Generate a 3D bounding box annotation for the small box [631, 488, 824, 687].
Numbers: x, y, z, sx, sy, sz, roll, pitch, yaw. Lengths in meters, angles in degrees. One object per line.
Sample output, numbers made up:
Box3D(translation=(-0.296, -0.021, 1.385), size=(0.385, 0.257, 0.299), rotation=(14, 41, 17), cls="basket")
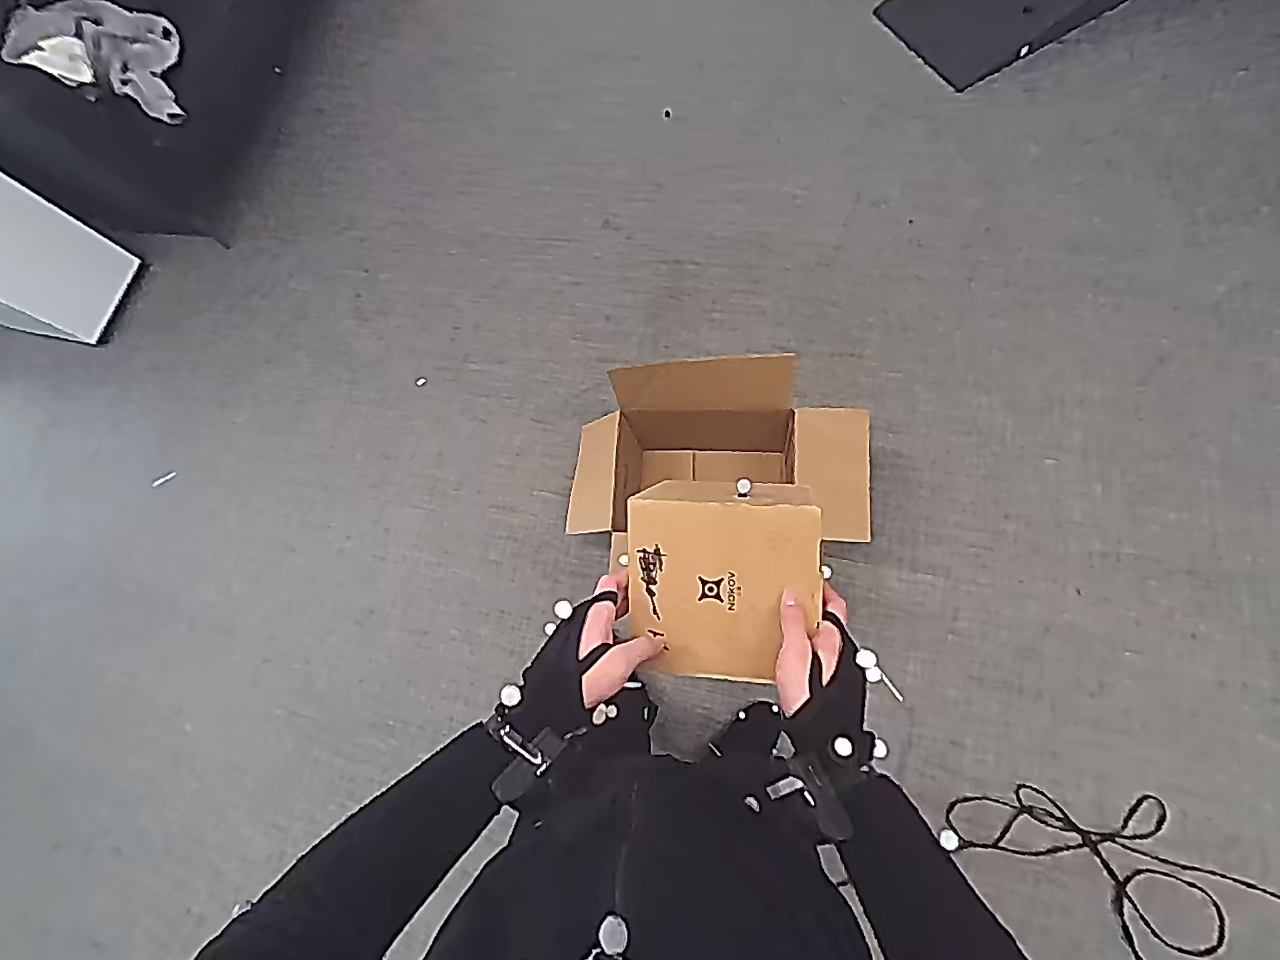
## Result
Box3D(translation=(0.094, 0.098, 0.575), size=(0.179, 0.176, 0.168), rotation=(1, 95, 14), cls="small box")
